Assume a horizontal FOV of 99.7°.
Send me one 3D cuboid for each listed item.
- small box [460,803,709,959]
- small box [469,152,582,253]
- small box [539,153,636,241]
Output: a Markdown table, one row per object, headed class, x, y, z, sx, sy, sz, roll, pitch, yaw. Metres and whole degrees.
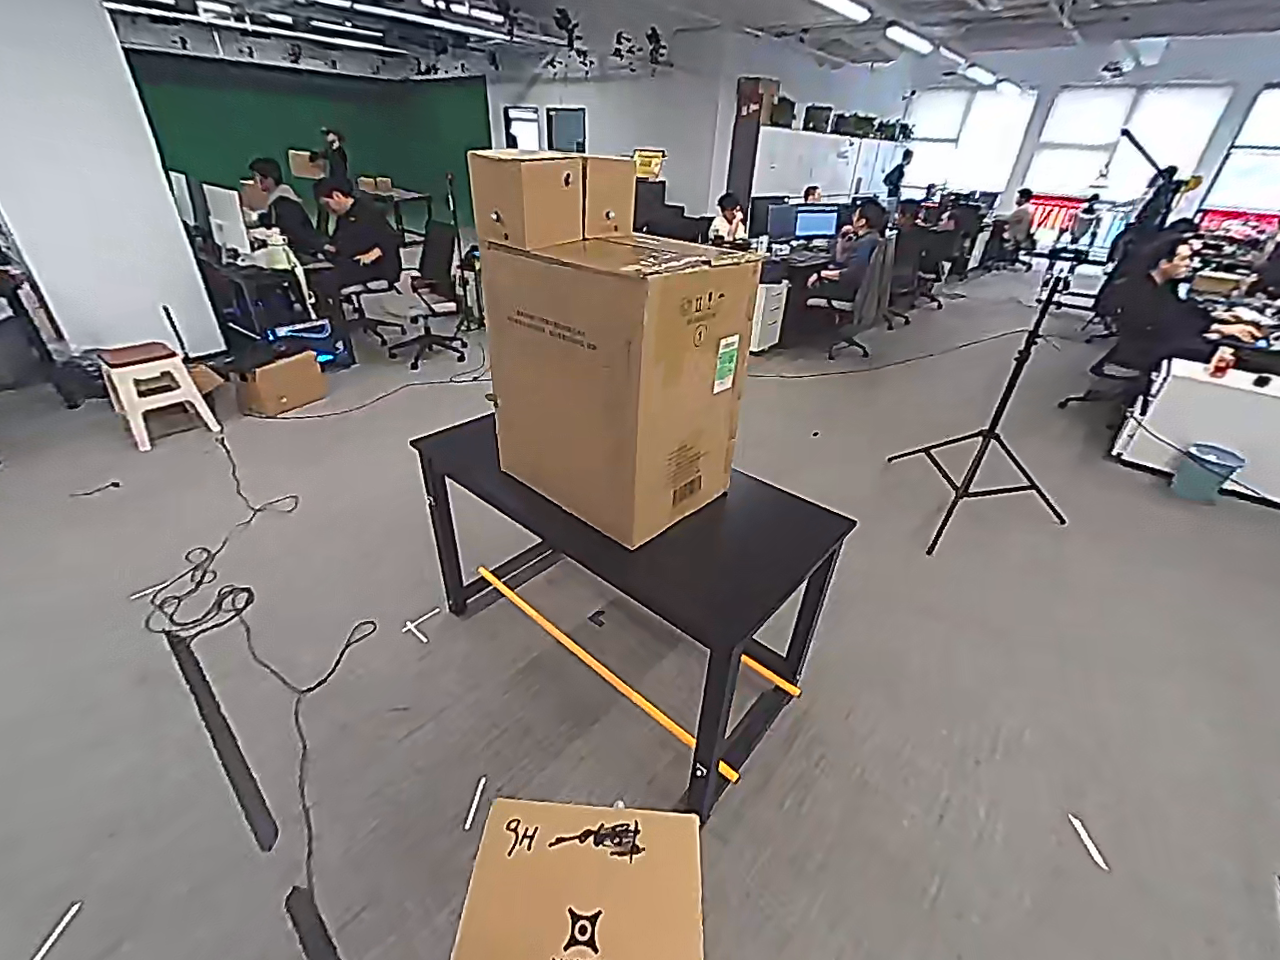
| class | x | y | z | sx | sy | sz | roll | pitch | yaw |
| --- | --- | --- | --- | --- | --- | --- | --- | --- | --- |
| small box | -0.038 | 0.374 | 0.402 | 0.168 | 0.176 | 0.179 | 4 | 37 | 0 |
| small box | -0.244 | -0.607 | 1.176 | 0.168 | 0.176 | 0.179 | 26 | 41 | 29 |
| small box | -0.133 | -0.678 | 1.301 | 0.179 | 0.176 | 0.168 | 28 | 38 | 32 |
